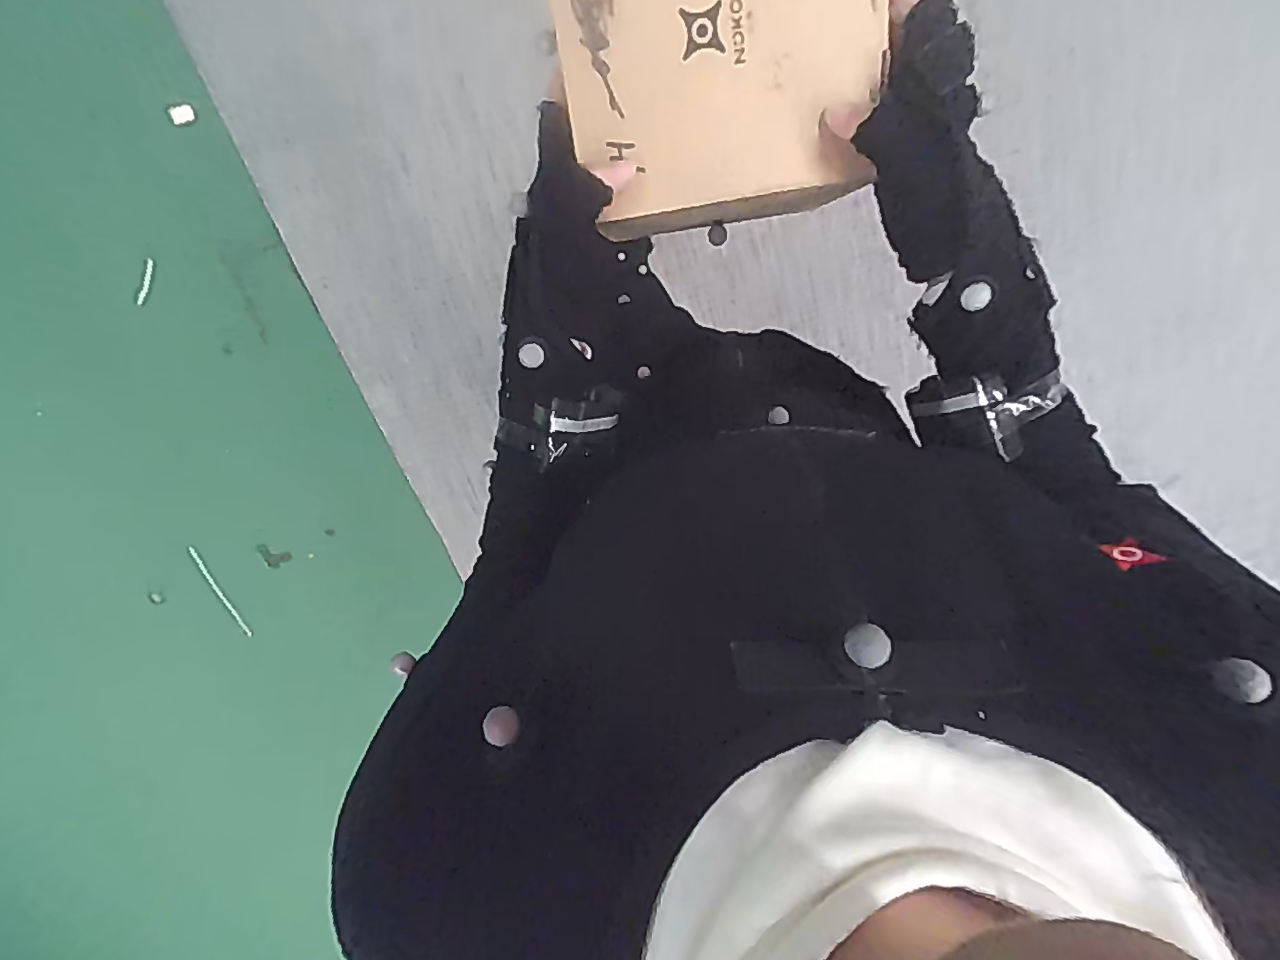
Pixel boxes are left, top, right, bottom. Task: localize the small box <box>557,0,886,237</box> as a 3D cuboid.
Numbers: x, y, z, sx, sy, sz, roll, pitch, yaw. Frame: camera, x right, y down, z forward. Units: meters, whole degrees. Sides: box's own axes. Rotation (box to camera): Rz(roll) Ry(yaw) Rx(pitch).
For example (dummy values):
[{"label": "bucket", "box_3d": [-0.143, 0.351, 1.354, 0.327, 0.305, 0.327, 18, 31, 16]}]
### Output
[{"label": "small box", "box_3d": [0.046, -0.270, 0.367, 0.179, 0.176, 0.168, -6, 109, 5]}]
